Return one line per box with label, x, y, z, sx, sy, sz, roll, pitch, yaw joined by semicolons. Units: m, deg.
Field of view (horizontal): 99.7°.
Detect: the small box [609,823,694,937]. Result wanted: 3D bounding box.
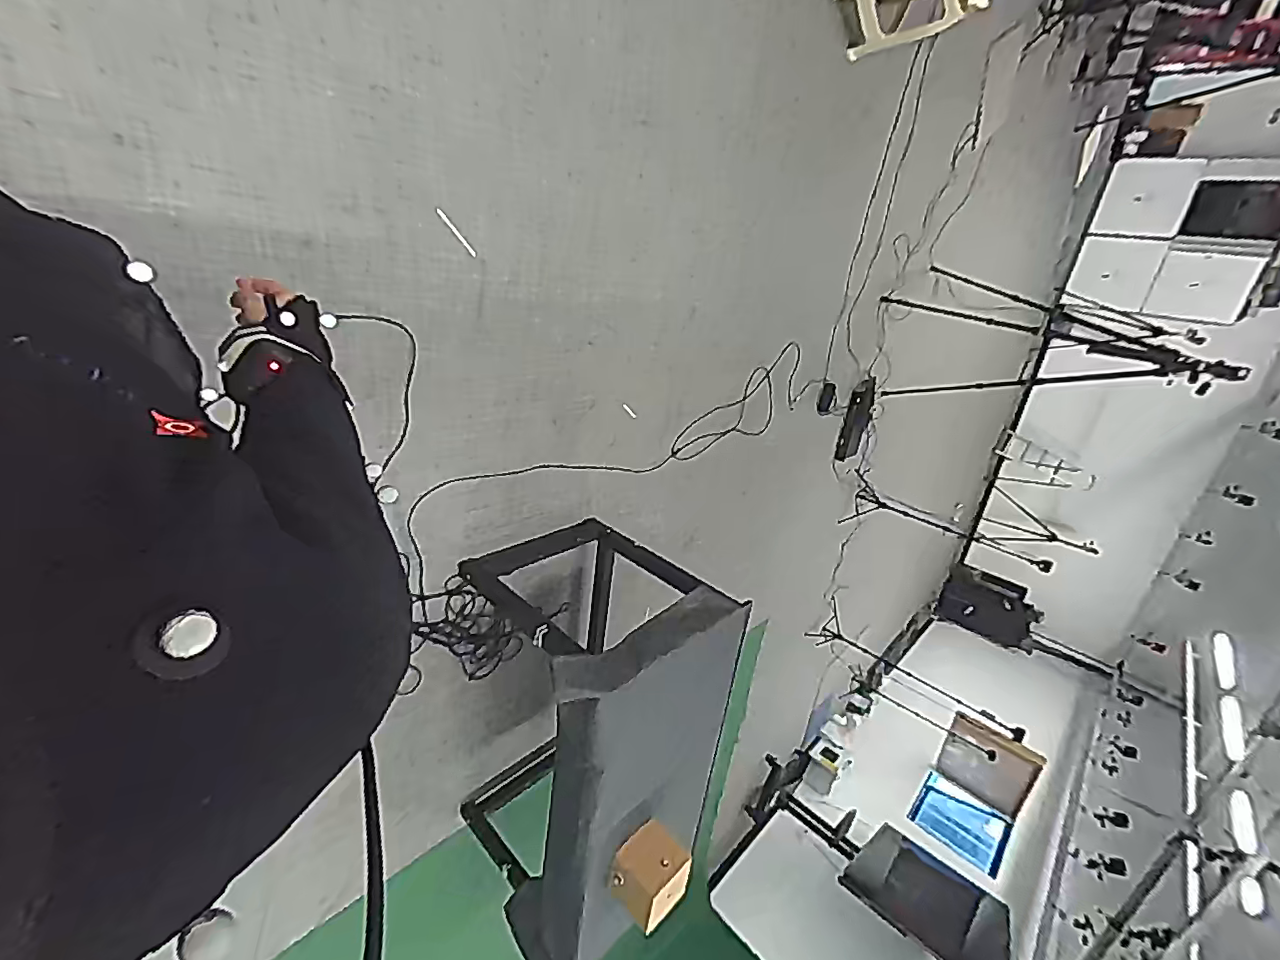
small box;0.032;1.179;1.610;0.179;0.176;0.168;-14;119;-44
